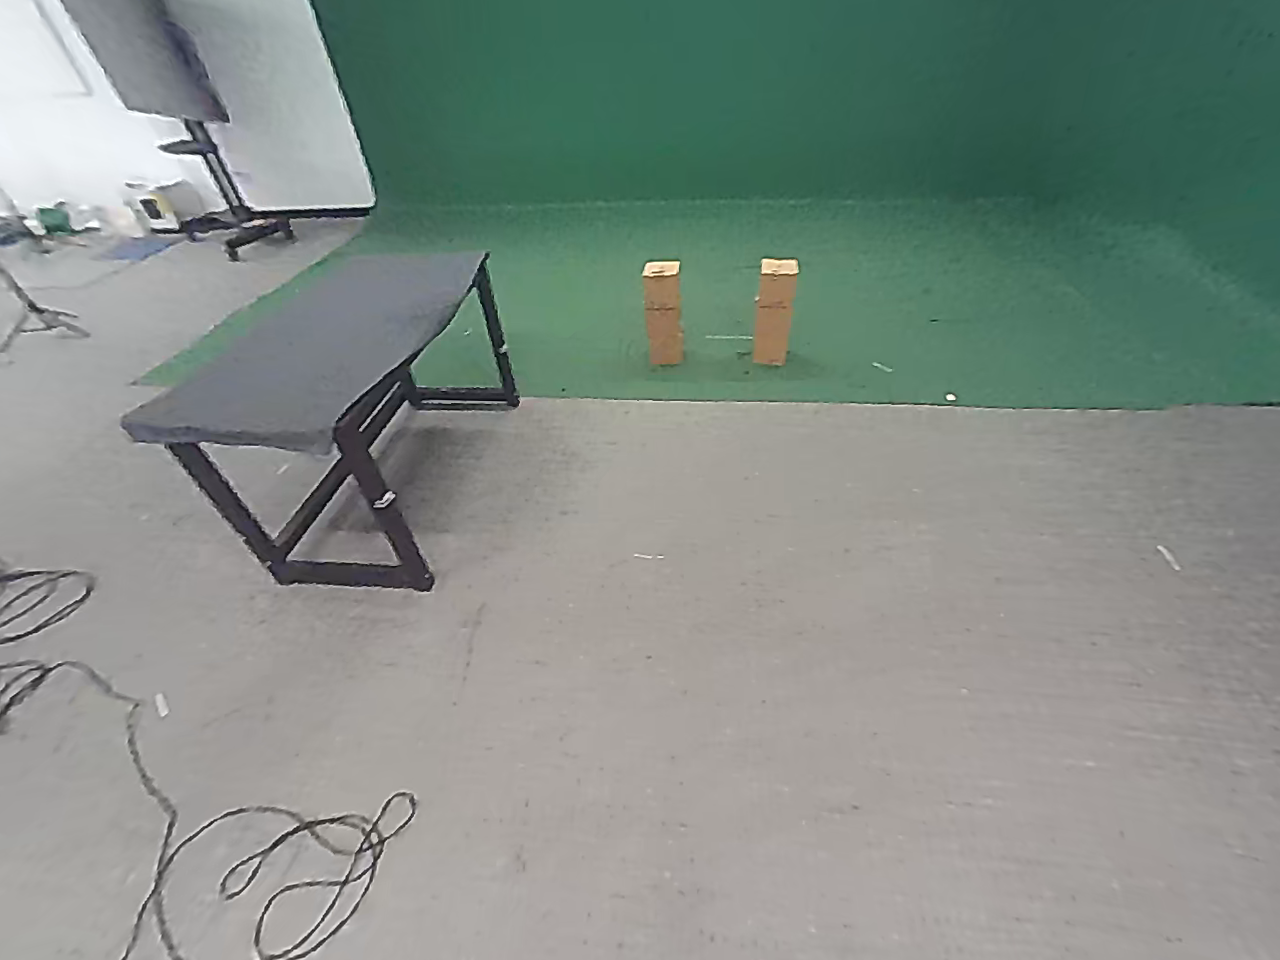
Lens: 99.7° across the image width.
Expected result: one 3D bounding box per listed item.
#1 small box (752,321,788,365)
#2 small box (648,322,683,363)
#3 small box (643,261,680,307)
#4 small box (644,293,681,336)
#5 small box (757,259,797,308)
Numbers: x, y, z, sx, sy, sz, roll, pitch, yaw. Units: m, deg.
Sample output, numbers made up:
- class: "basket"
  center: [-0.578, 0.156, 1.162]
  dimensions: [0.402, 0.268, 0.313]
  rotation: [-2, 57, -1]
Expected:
- class: "small box"
  center: [0.690, -0.728, 2.876]
  dimensions: [0.168, 0.176, 0.179]
  rotation: [8, 44, 12]
- class: "small box"
  center: [0.139, -0.745, 2.929]
  dimensions: [0.179, 0.176, 0.168]
  rotation: [2, 44, 6]
- class: "small box"
  center: [0.110, -0.977, 2.700]
  dimensions: [0.168, 0.176, 0.179]
  rotation: [2, 43, 8]
- class: "small box"
  center: [0.119, -0.864, 2.820]
  dimensions: [0.179, 0.176, 0.168]
  rotation: [4, 44, 8]
- class: "small box"
  center: [0.669, -0.963, 2.647]
  dimensions: [0.168, 0.176, 0.179]
  rotation: [6, 42, 8]
